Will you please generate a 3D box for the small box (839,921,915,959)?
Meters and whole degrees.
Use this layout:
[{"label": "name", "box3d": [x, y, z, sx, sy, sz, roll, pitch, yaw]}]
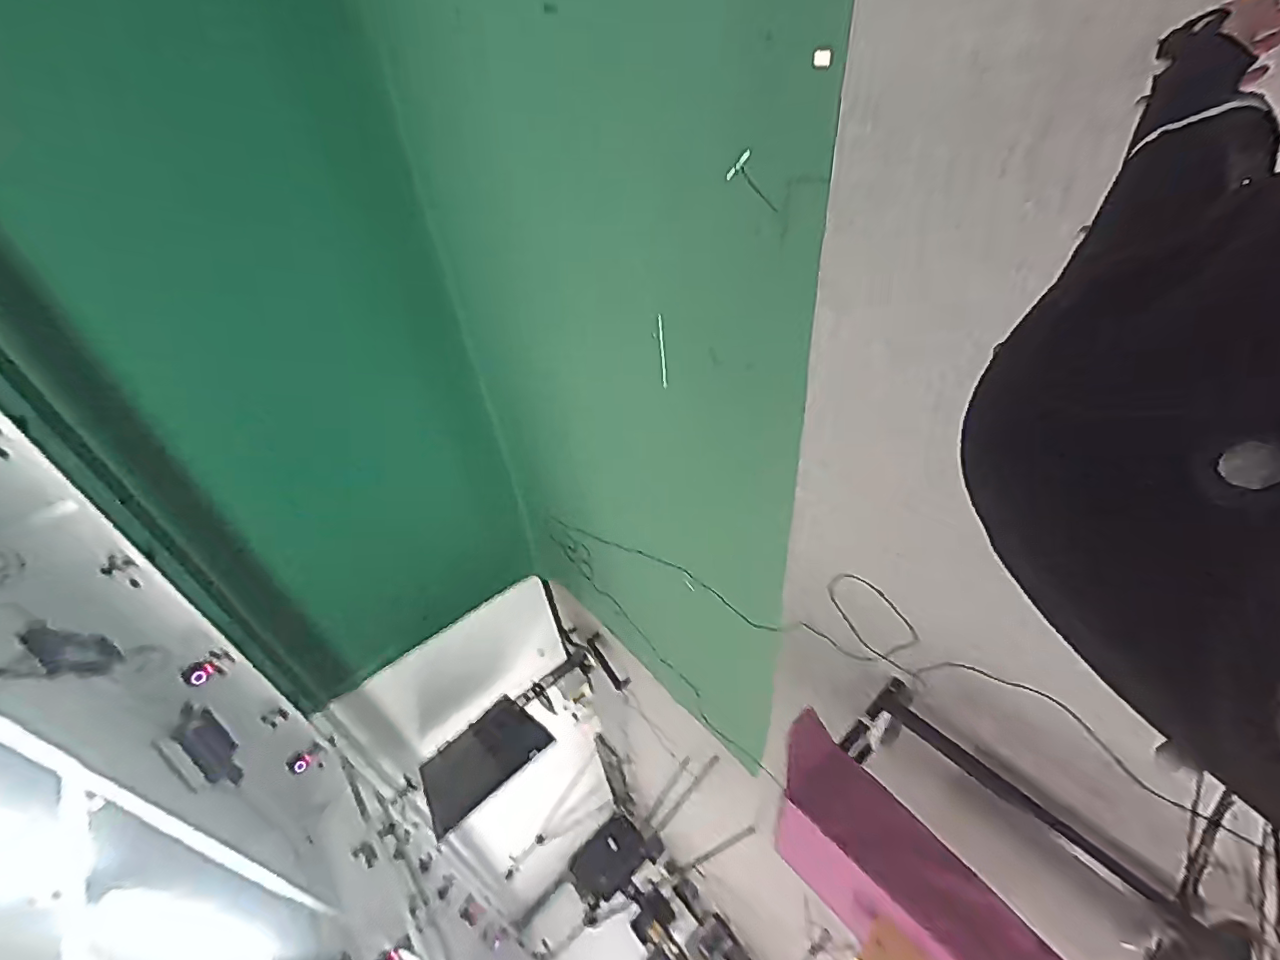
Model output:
[{"label": "small box", "box3d": [0.795, 1.623, 1.806, 0.179, 0.176, 0.168, 36, 145, 36]}]
